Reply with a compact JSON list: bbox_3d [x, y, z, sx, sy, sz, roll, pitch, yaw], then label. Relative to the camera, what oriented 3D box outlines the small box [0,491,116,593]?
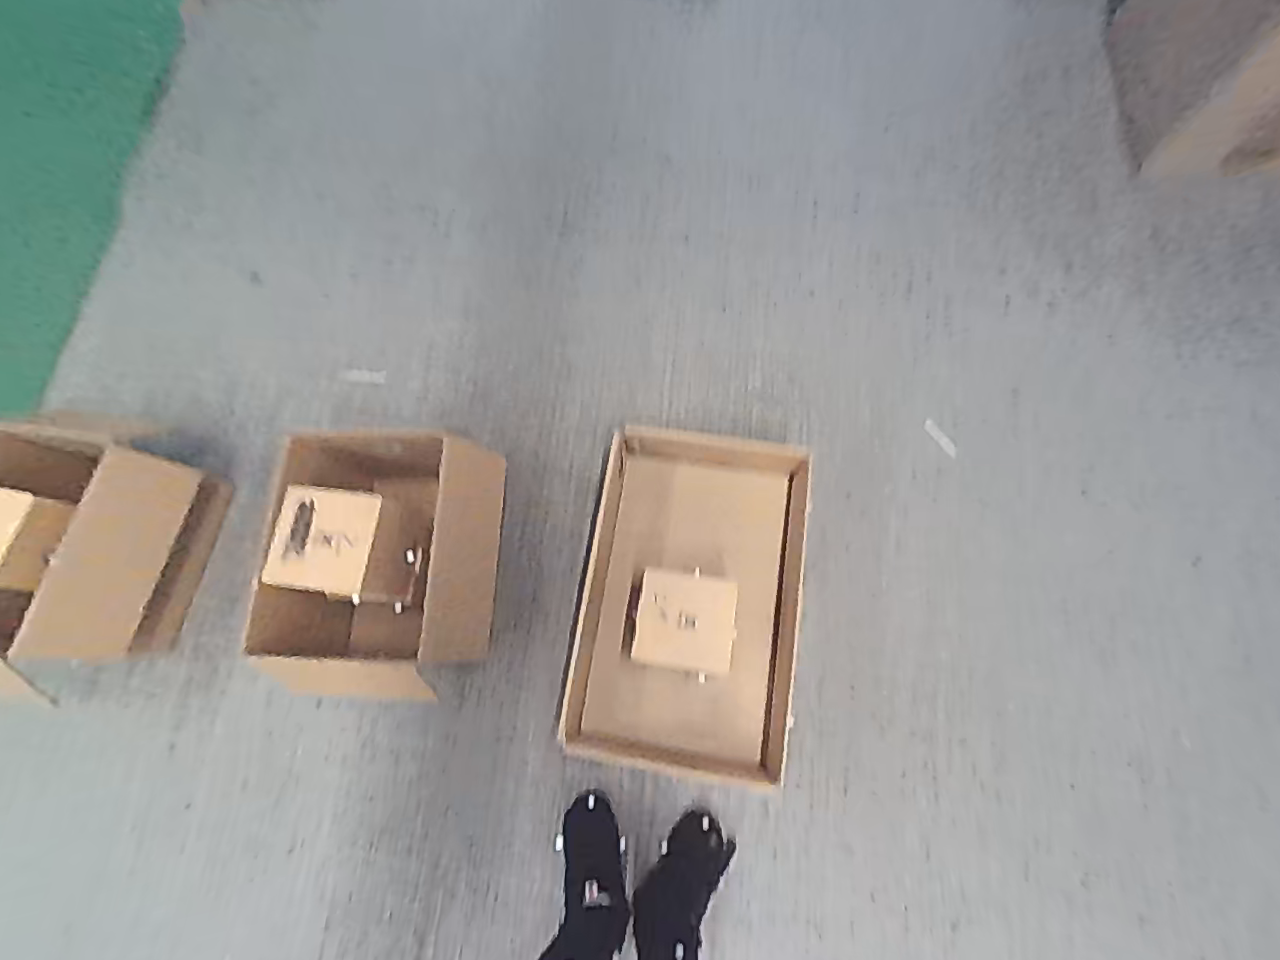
[{"bbox_3d":[-1.183,0.117,1.035,0.179,0.176,0.168,10,73,6],"label":"small box"}]
